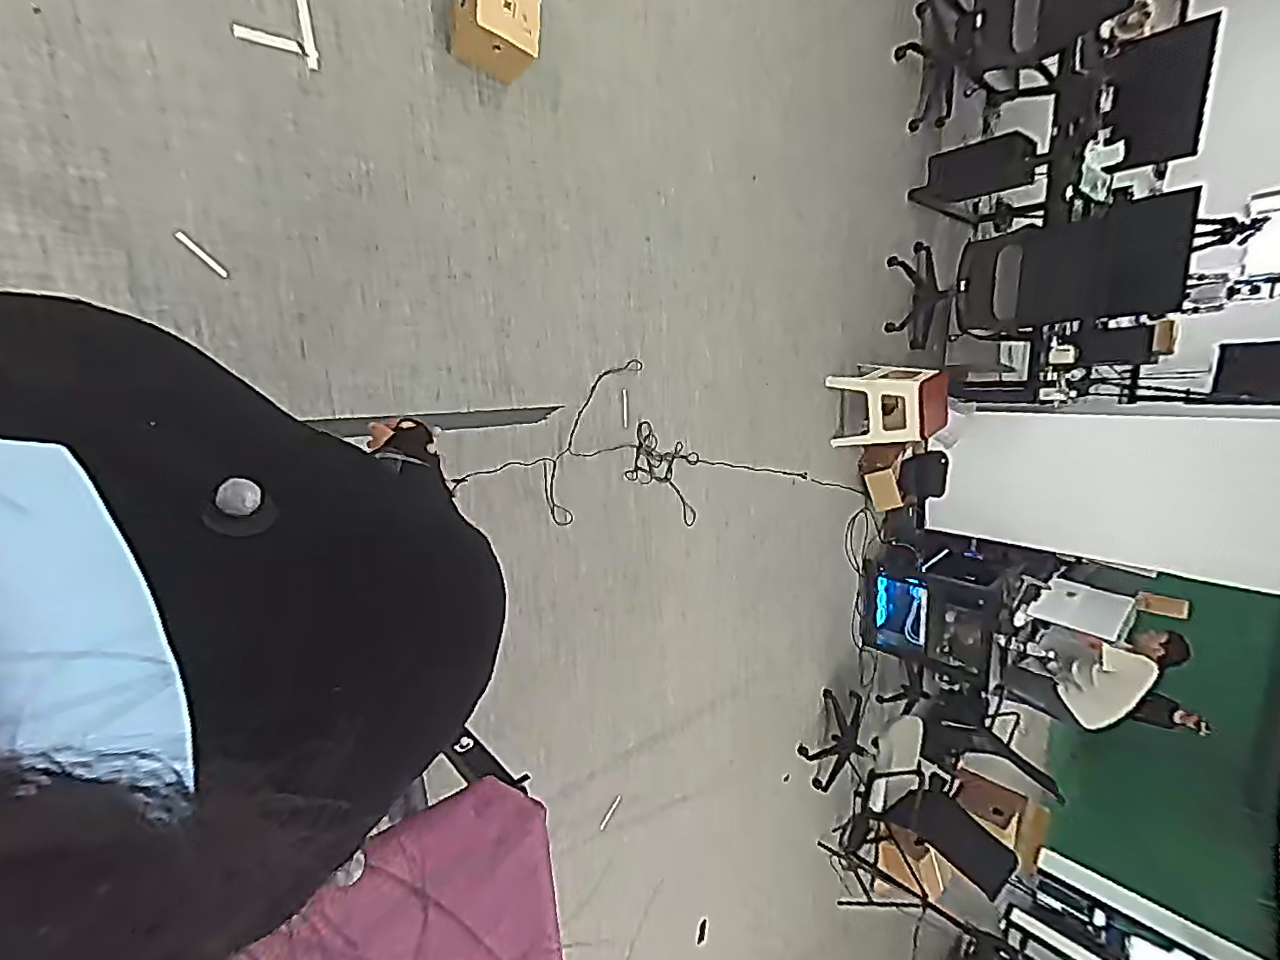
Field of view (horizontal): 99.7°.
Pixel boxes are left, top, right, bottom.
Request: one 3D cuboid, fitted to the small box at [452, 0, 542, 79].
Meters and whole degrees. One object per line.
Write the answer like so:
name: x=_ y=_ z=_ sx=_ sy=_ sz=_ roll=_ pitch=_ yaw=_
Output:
small box: x=-0.379 y=-1.204 z=1.420 sx=0.179 sy=0.176 sz=0.168 roll=1 pitch=97 yaw=-42
